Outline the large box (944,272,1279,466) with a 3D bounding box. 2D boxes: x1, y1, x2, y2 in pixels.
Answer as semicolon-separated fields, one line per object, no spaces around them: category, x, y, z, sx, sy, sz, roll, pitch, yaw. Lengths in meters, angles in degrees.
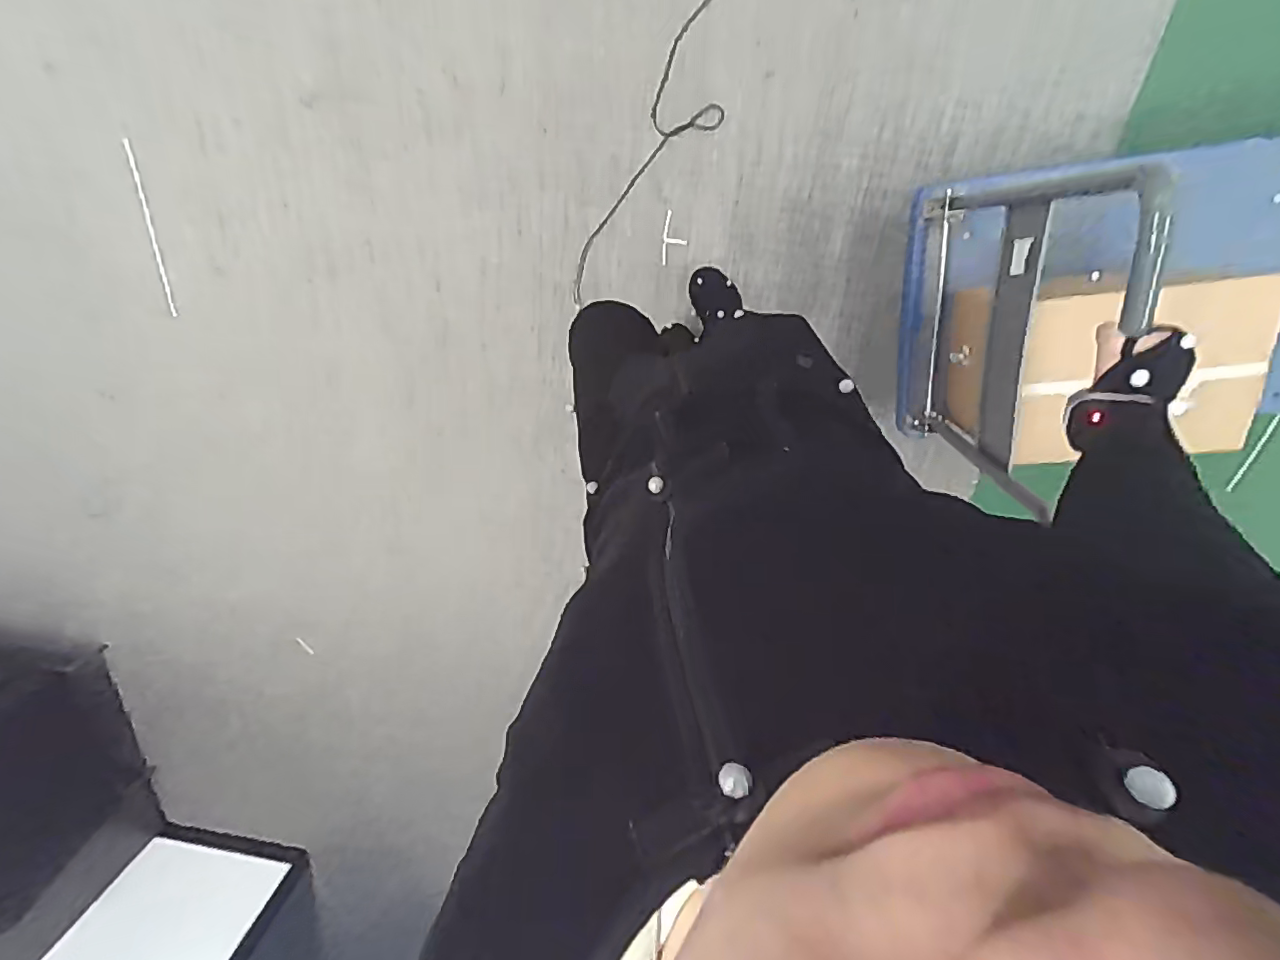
large box;0.906;-0.240;1.118;0.408;0.320;0.320;-4;113;9
